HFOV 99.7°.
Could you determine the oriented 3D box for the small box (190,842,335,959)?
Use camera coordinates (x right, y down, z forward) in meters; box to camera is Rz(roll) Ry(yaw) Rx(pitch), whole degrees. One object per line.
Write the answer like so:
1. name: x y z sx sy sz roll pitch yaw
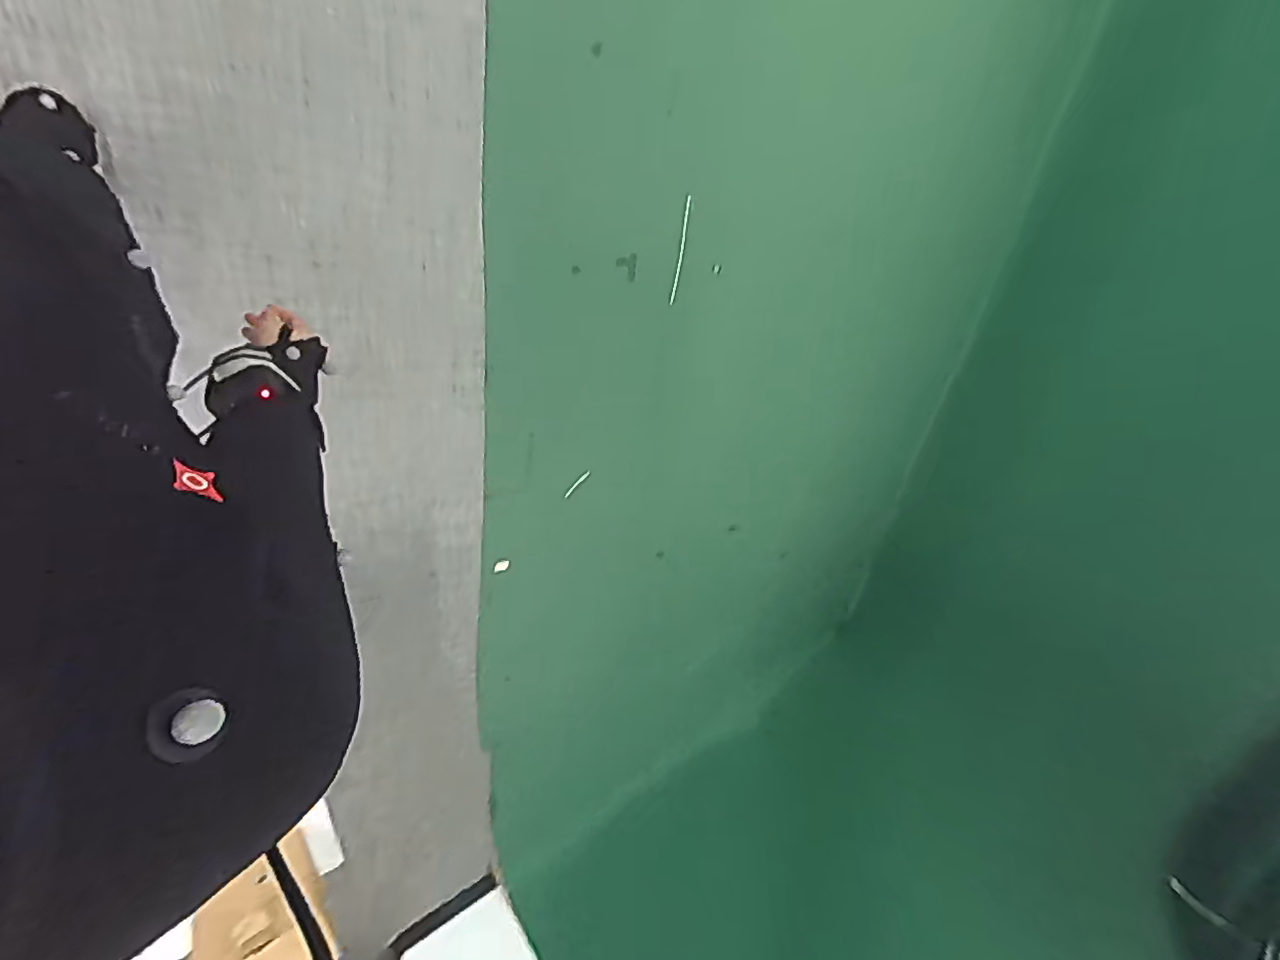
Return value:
1. small box: -0.637 0.772 0.919 0.168 0.176 0.179 -18 125 -34
